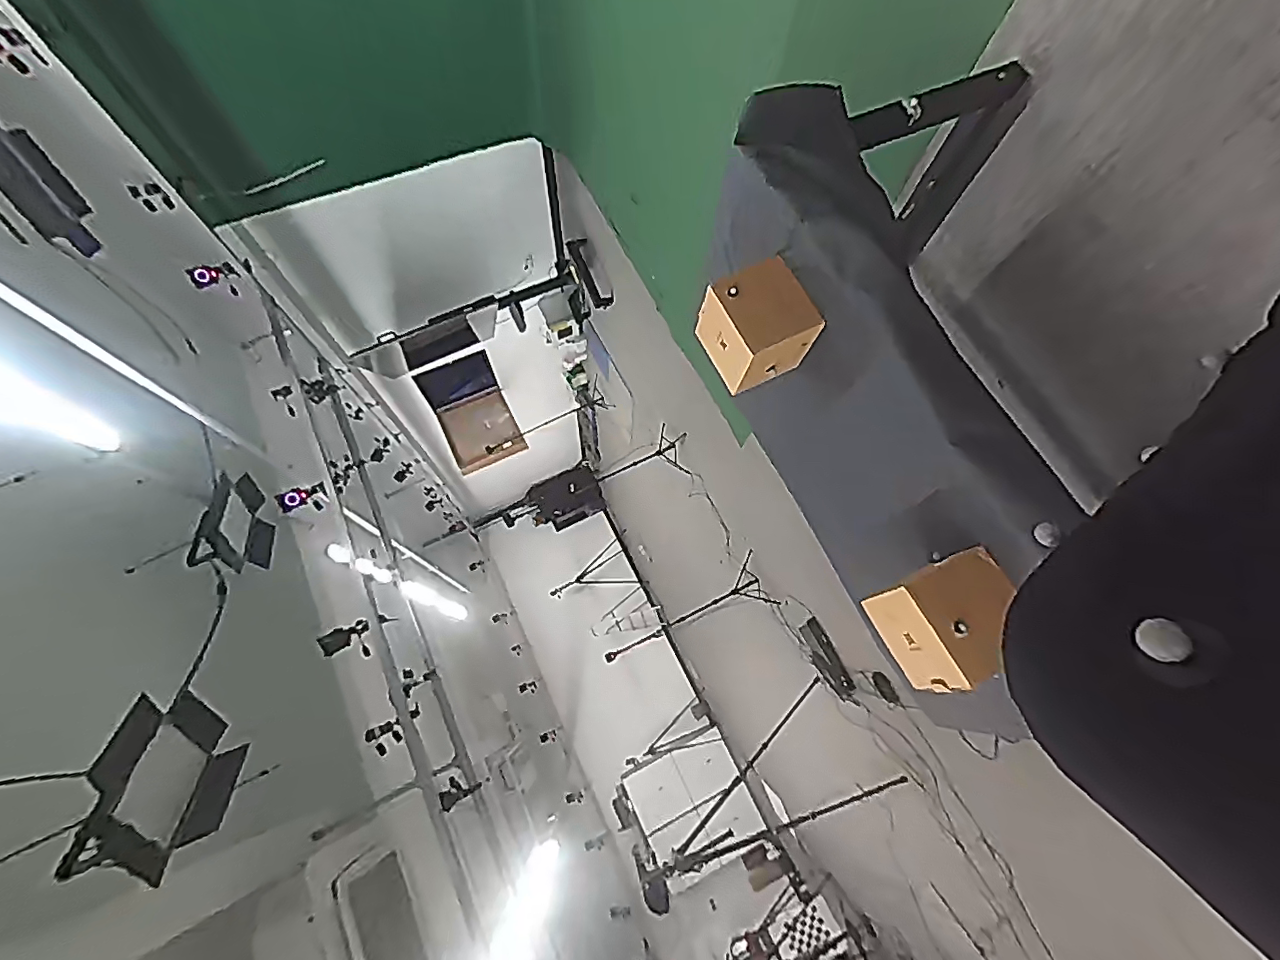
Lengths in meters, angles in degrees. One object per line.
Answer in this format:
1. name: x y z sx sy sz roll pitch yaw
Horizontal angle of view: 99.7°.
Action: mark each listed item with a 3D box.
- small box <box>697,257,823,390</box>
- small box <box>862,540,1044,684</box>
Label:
1. small box: 0.239 -0.318 1.101 0.179 0.176 0.168 62 169 14
2. small box: 0.529 0.228 0.927 0.179 0.176 0.168 63 167 18
